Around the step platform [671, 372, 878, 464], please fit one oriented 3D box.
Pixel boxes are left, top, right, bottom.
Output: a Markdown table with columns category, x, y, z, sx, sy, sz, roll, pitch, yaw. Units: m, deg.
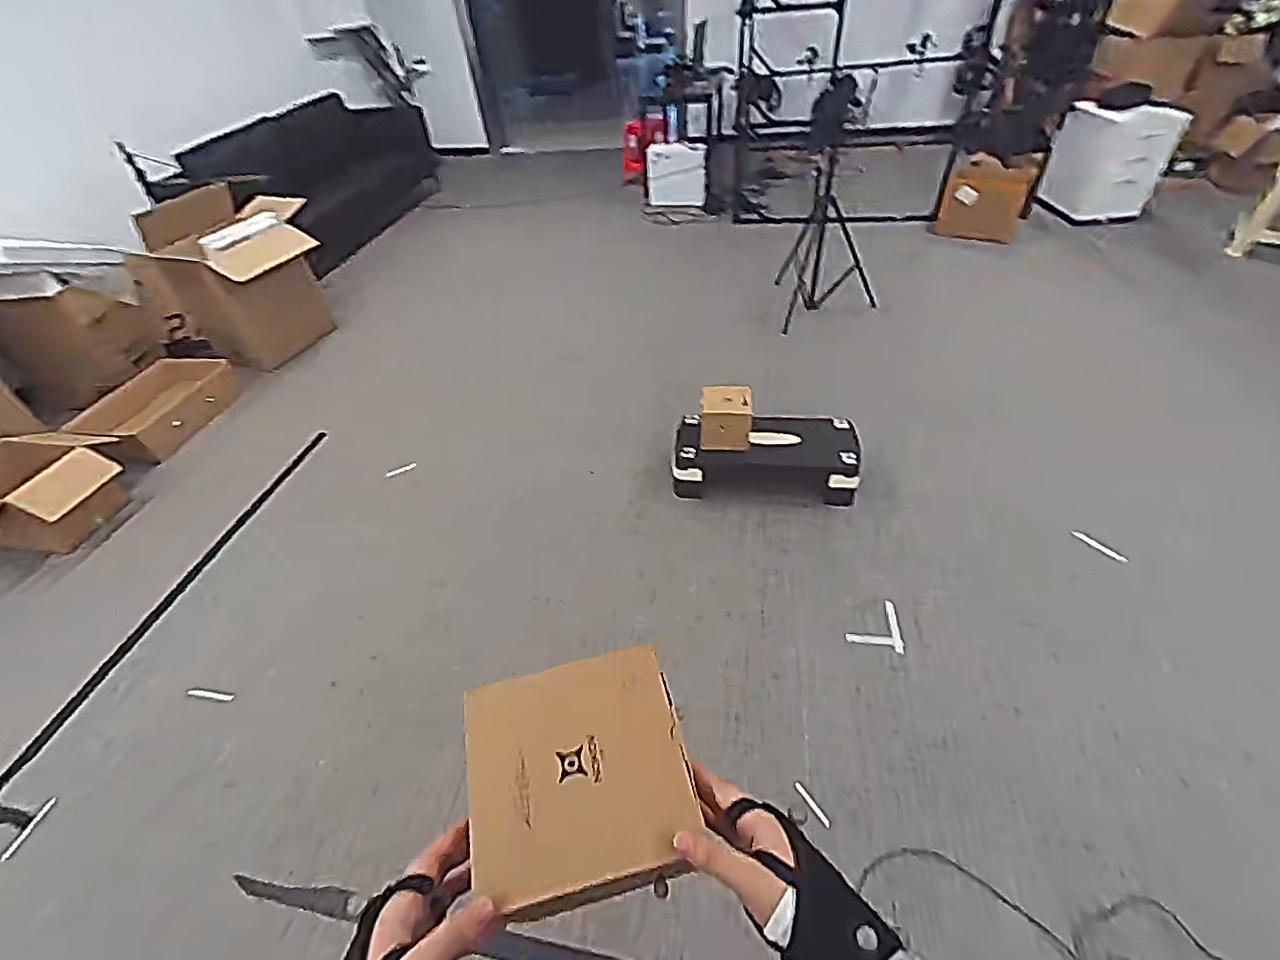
| category | x | y | z | sx | sy | sz | roll | pitch | yaw |
| --- | --- | --- | --- | --- | --- | --- | --- | --- | --- |
| step platform | 0.452 | -0.221 | 1.906 | 0.684 | 0.204 | 0.286 | 3 | 44 | 8 |

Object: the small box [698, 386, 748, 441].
| category | x | y | z | sx | sy | sz | roll | pitch | yaw |
| --- | --- | --- | --- | --- | --- | --- | --- | --- | --- |
| small box | 0.302 | -0.226 | 1.979 | 0.179 | 0.176 | 0.168 | 0 | 45 | 7 |

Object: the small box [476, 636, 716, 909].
| category | x | y | z | sx | sy | sz | roll | pitch | yaw |
| --- | --- | --- | --- | --- | --- | --- | --- | --- | --- |
| small box | -0.040 | 0.274 | 0.504 | 0.179 | 0.176 | 0.168 | -14 | 50 | -6 |
